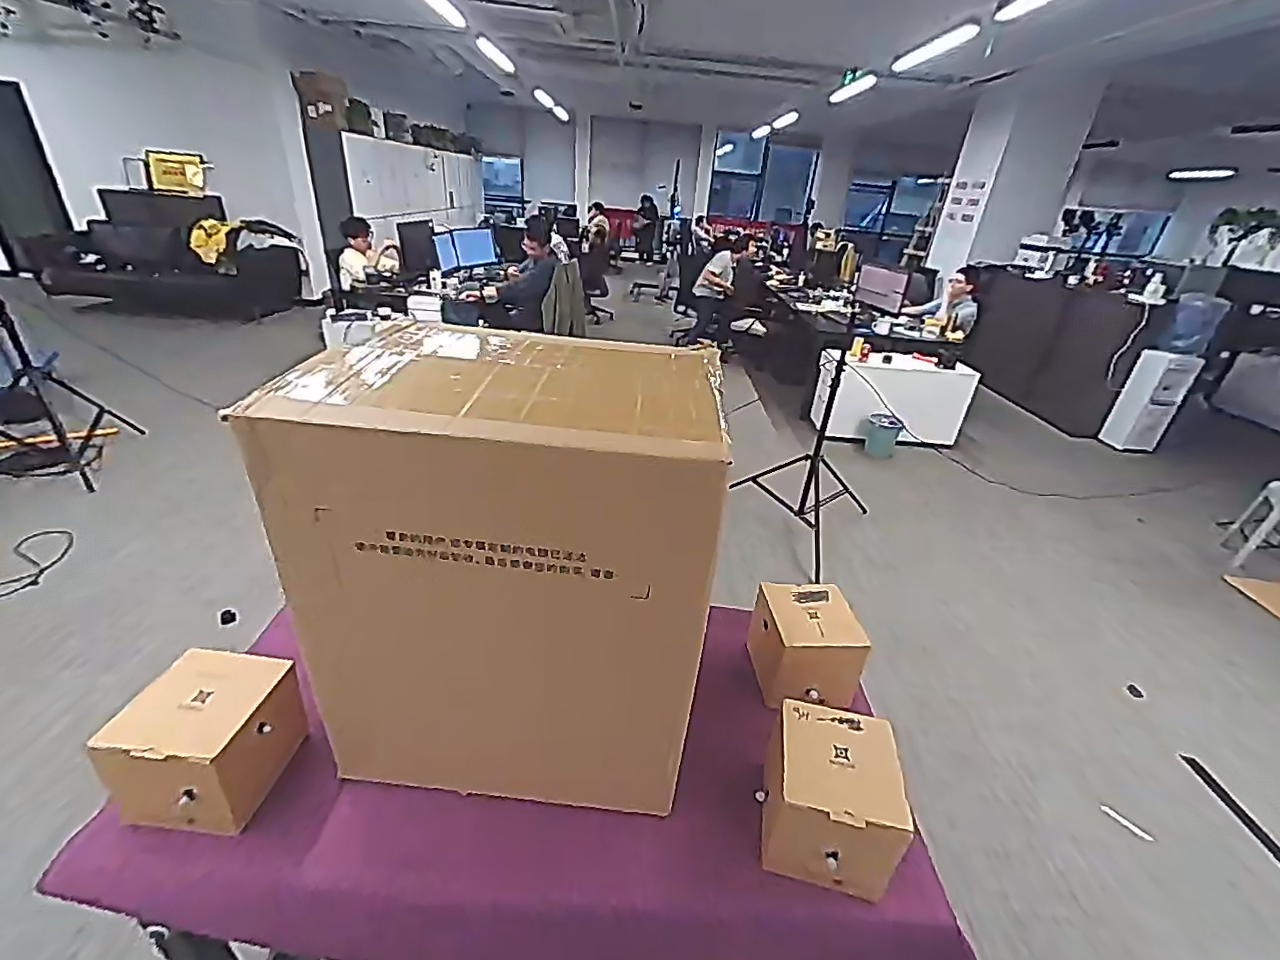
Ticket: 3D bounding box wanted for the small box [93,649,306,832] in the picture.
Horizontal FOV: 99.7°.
[{"bbox_3d":[-0.629,0.384,0.803,0.168,0.176,0.179,8,25,-1],"label":"small box"}]
